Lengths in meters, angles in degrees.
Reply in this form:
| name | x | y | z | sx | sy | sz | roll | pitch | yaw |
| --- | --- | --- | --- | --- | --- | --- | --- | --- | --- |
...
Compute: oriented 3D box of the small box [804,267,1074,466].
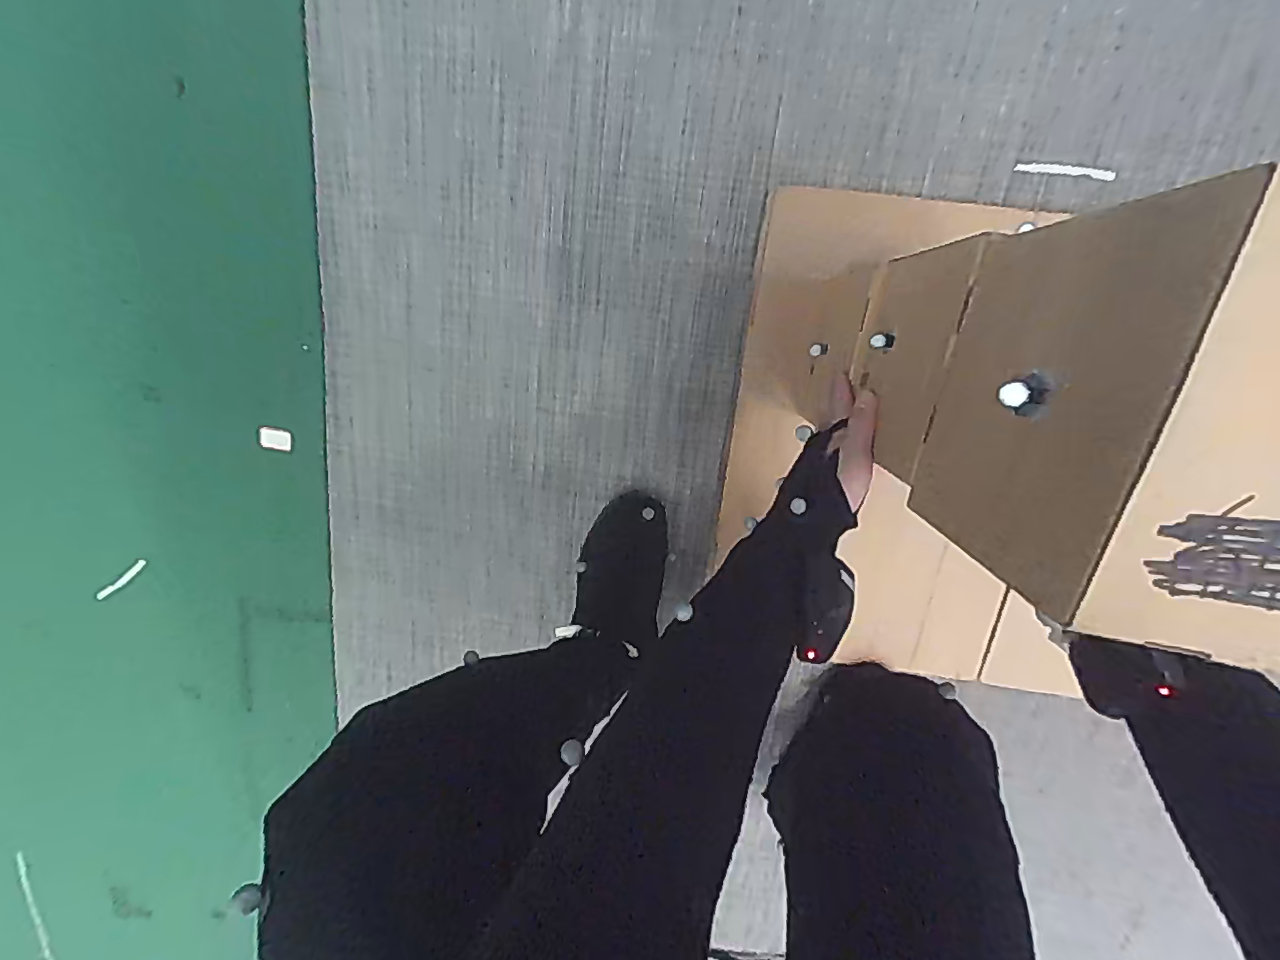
| name | x | y | z | sx | sy | sz | roll | pitch | yaw |
| --- | --- | --- | --- | --- | --- | --- | --- | --- | --- |
| small box | 0.294 | -0.124 | 0.579 | 0.179 | 0.176 | 0.168 | 8 | 106 | 2 |
